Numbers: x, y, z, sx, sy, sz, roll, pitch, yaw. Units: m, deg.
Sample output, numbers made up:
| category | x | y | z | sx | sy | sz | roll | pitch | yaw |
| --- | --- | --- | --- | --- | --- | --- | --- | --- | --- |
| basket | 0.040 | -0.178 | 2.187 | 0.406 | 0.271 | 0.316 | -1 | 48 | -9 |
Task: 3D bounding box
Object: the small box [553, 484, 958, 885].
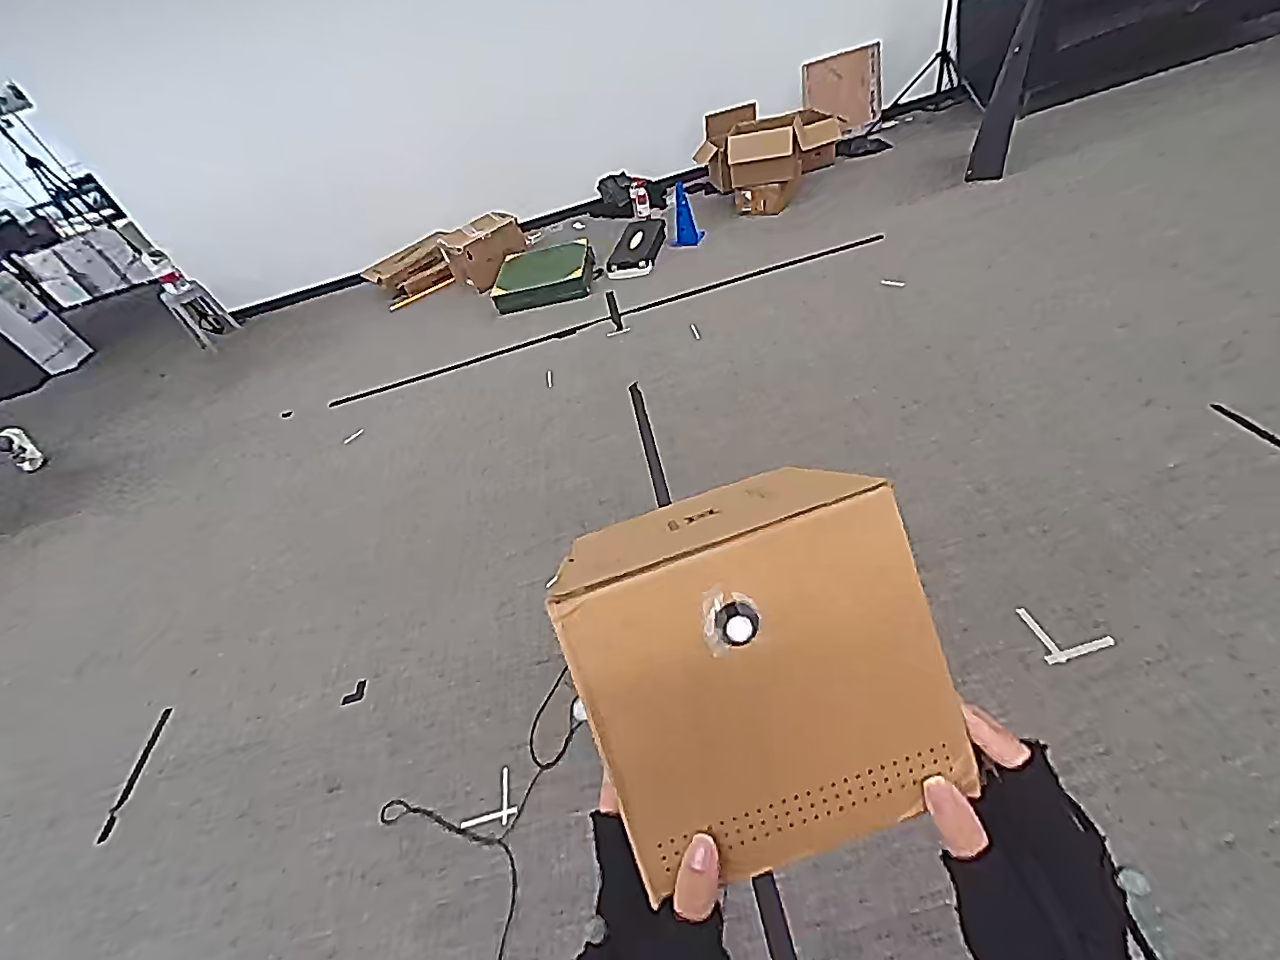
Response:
| category | x | y | z | sx | sy | sz | roll | pitch | yaw |
| --- | --- | --- | --- | --- | --- | --- | --- | --- | --- |
| small box | 0.064 | 0.112 | 0.354 | 0.179 | 0.176 | 0.168 | -19 | 3 | 0 |
